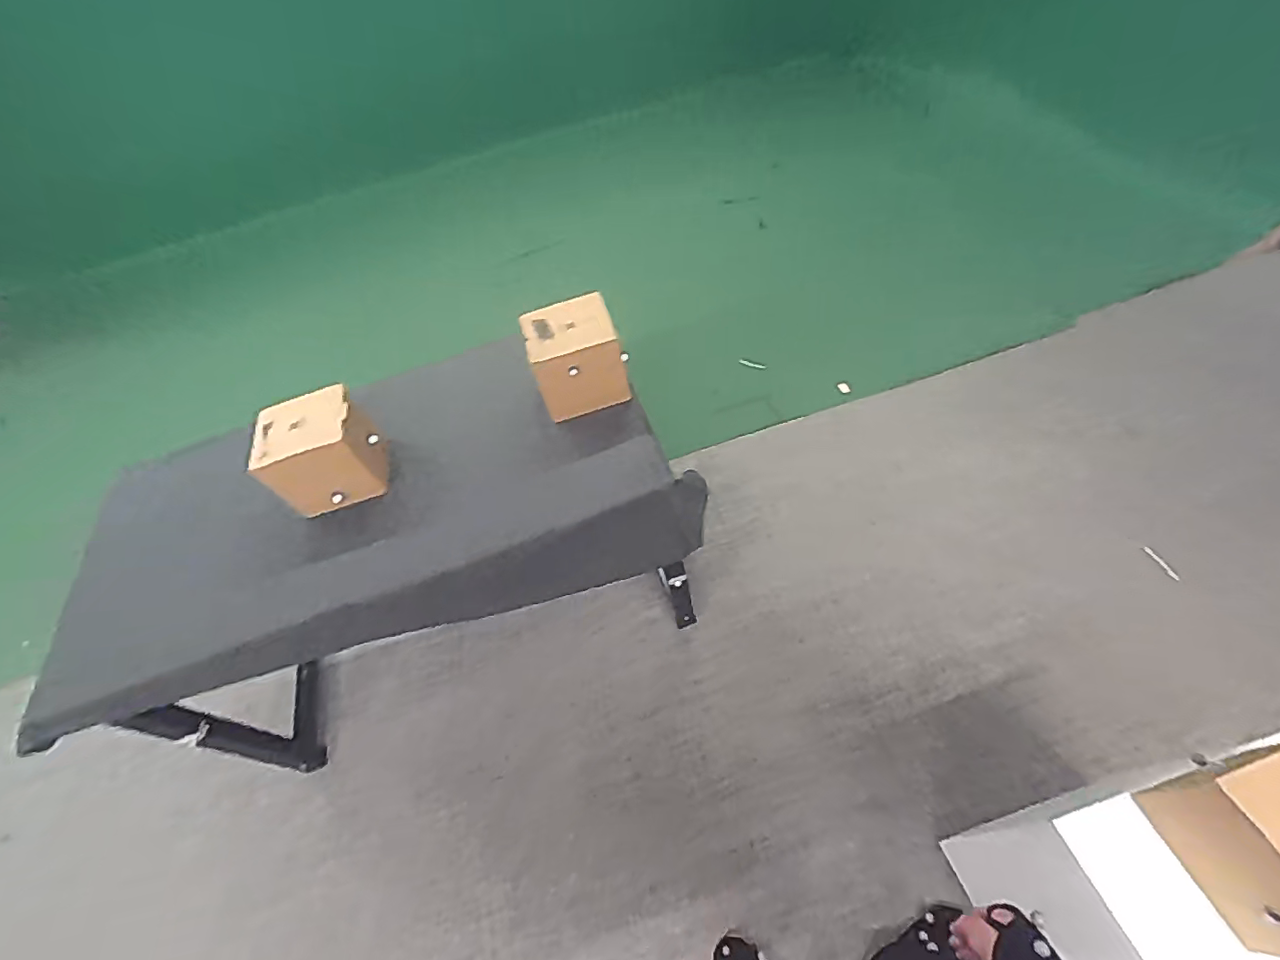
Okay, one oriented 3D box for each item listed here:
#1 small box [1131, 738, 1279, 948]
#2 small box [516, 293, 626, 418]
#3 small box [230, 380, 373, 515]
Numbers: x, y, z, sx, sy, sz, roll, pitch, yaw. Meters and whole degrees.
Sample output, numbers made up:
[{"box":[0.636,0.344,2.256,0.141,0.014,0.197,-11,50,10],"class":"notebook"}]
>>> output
[{"box":[0.763,0.424,0.639,0.168,0.176,0.179,-18,53,-8],"class":"small box"},{"box":[-0.140,-0.253,1.120,0.179,0.176,0.168,-17,53,-5],"class":"small box"},{"box":[-0.639,-0.059,1.048,0.179,0.176,0.168,-18,52,-6],"class":"small box"}]
